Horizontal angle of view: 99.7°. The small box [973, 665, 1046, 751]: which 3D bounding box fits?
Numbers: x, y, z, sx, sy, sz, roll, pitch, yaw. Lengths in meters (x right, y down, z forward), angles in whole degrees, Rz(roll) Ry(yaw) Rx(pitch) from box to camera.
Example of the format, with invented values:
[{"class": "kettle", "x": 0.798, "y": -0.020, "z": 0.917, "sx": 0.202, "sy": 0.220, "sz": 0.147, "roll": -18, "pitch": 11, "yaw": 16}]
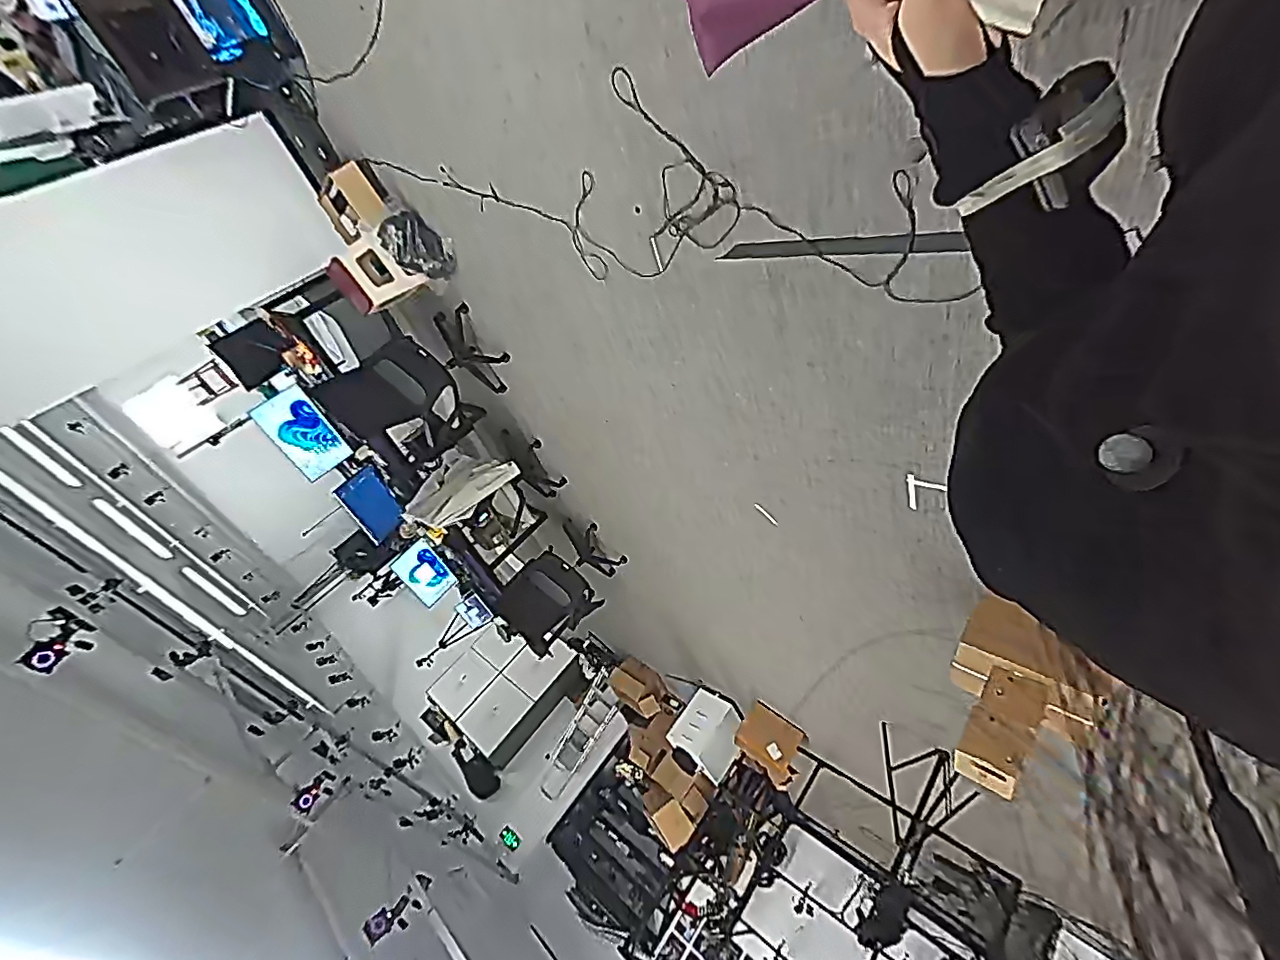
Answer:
[{"class": "small box", "x": 1.229, "y": 0.751, "z": 1.800, "sx": 0.168, "sy": 0.176, "sz": 0.179, "roll": 16, "pitch": 143, "yaw": 44}]
